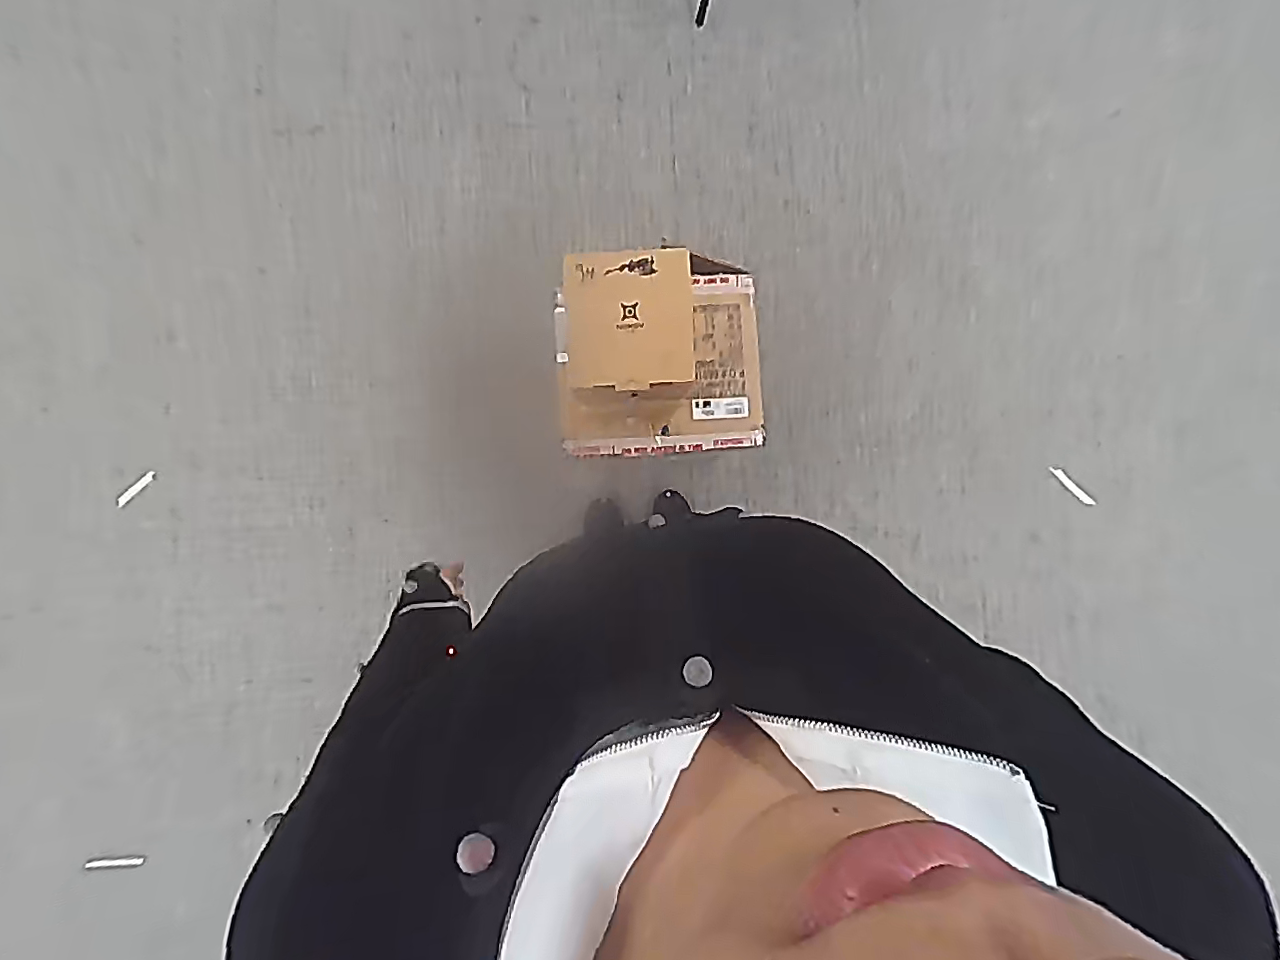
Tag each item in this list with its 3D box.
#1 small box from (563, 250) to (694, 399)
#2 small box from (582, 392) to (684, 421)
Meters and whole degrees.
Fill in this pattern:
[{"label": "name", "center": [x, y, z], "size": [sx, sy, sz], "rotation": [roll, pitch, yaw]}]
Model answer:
[{"label": "small box", "center": [-0.013, -0.208, 0.771], "size": [0.168, 0.176, 0.179], "rotation": [-3, 93, 0]}, {"label": "small box", "center": [-0.018, -0.201, 0.935], "size": [0.168, 0.176, 0.179], "rotation": [-5, 93, 0]}]
